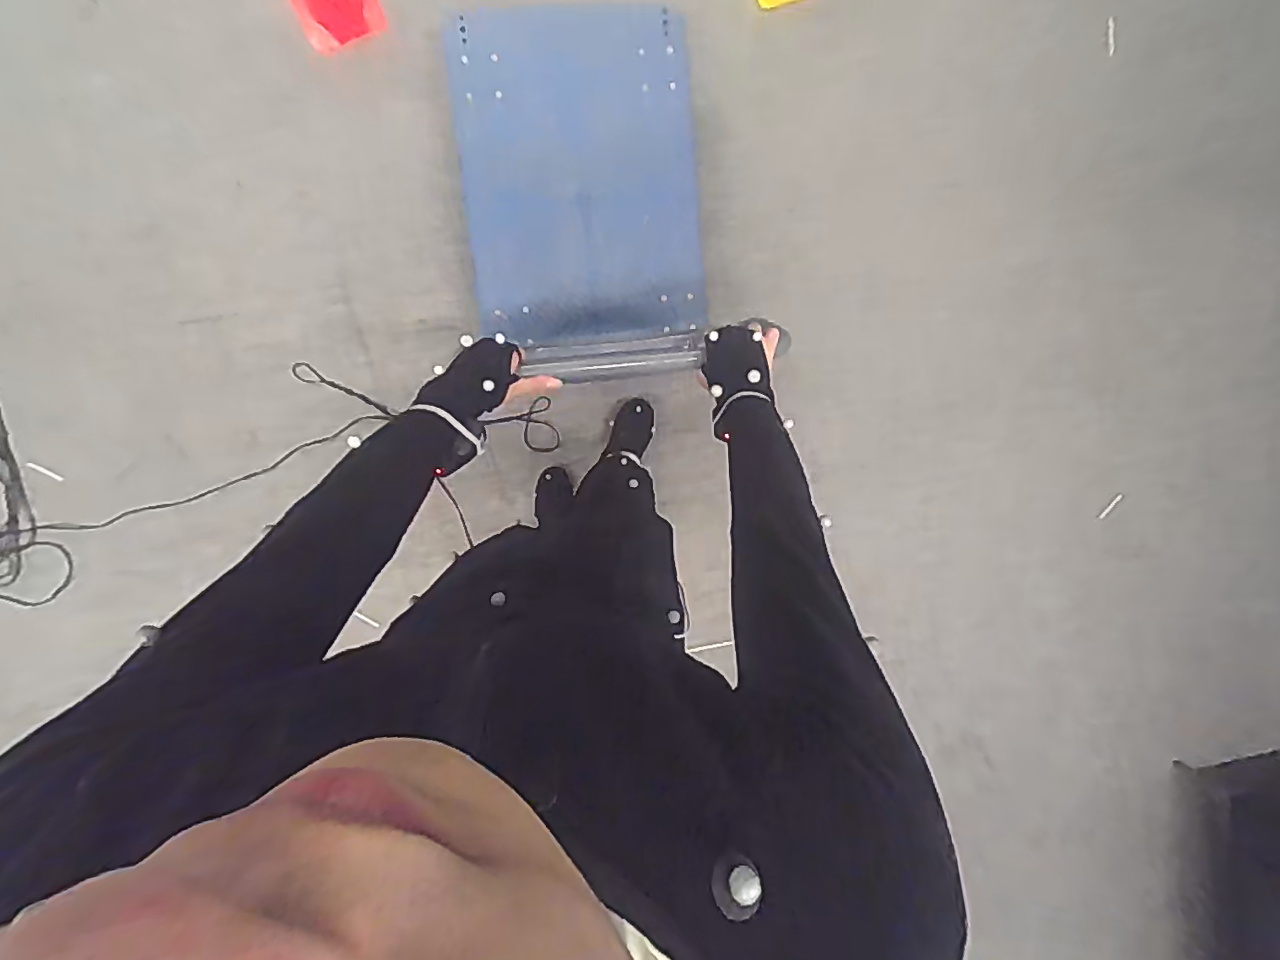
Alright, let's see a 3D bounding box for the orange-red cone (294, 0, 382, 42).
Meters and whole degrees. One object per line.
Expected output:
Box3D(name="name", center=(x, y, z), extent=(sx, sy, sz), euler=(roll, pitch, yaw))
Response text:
Box3D(name="orange-red cone", center=(-0.757, -1.202, 1.187), extent=(0.199, 0.360, 0.198), euler=(-23, 99, -1))
